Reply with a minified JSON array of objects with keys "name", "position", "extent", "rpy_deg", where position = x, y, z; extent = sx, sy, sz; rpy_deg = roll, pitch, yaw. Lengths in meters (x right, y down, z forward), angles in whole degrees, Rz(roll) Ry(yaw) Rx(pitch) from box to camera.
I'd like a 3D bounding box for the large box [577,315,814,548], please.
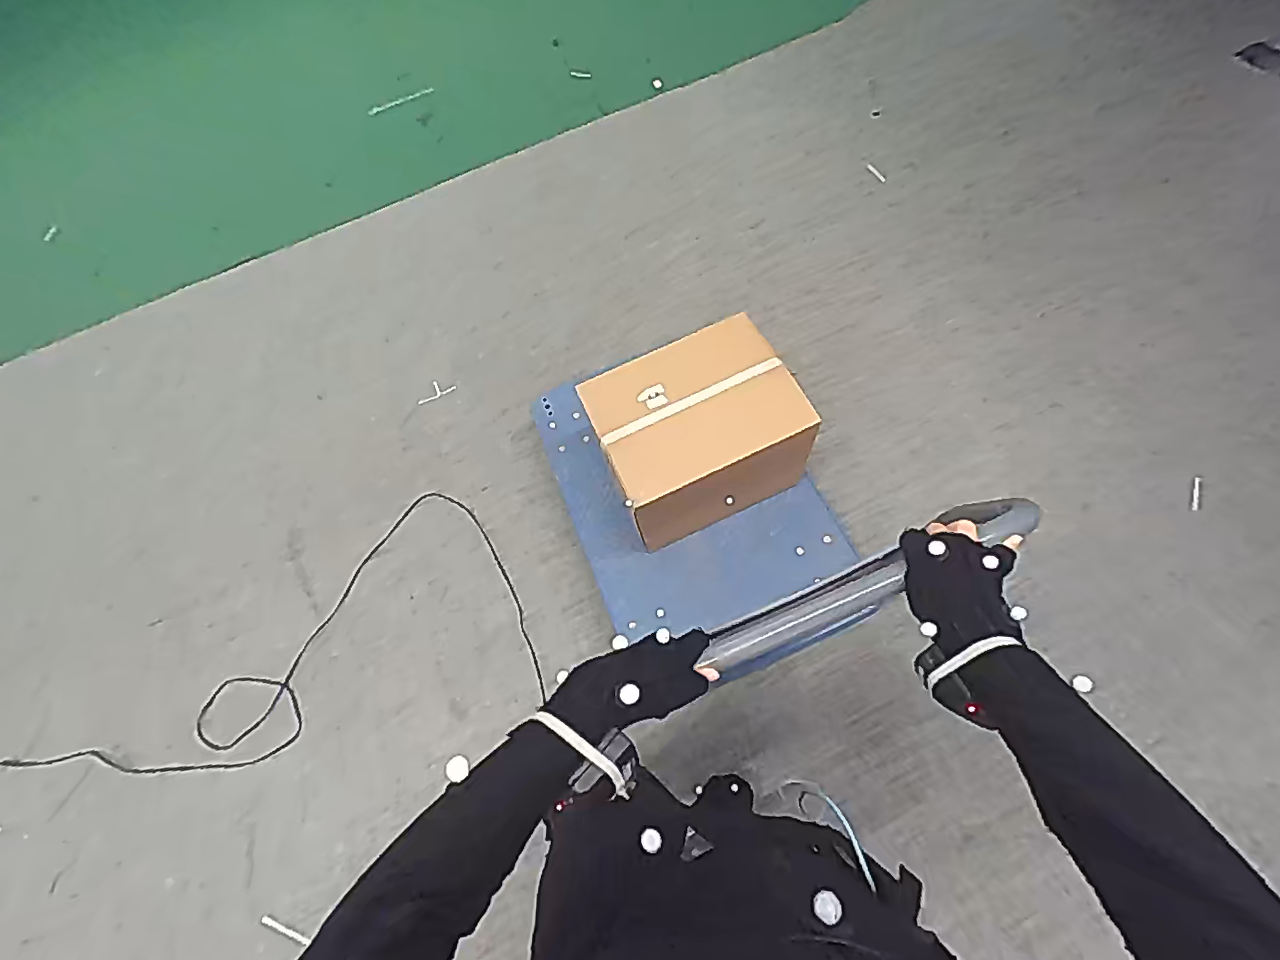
[{"name":"large box","position":[0.123,-0.095,1.245],"extent":[0.408,0.320,0.320],"rpy_deg":[-26,66,-3]}]
